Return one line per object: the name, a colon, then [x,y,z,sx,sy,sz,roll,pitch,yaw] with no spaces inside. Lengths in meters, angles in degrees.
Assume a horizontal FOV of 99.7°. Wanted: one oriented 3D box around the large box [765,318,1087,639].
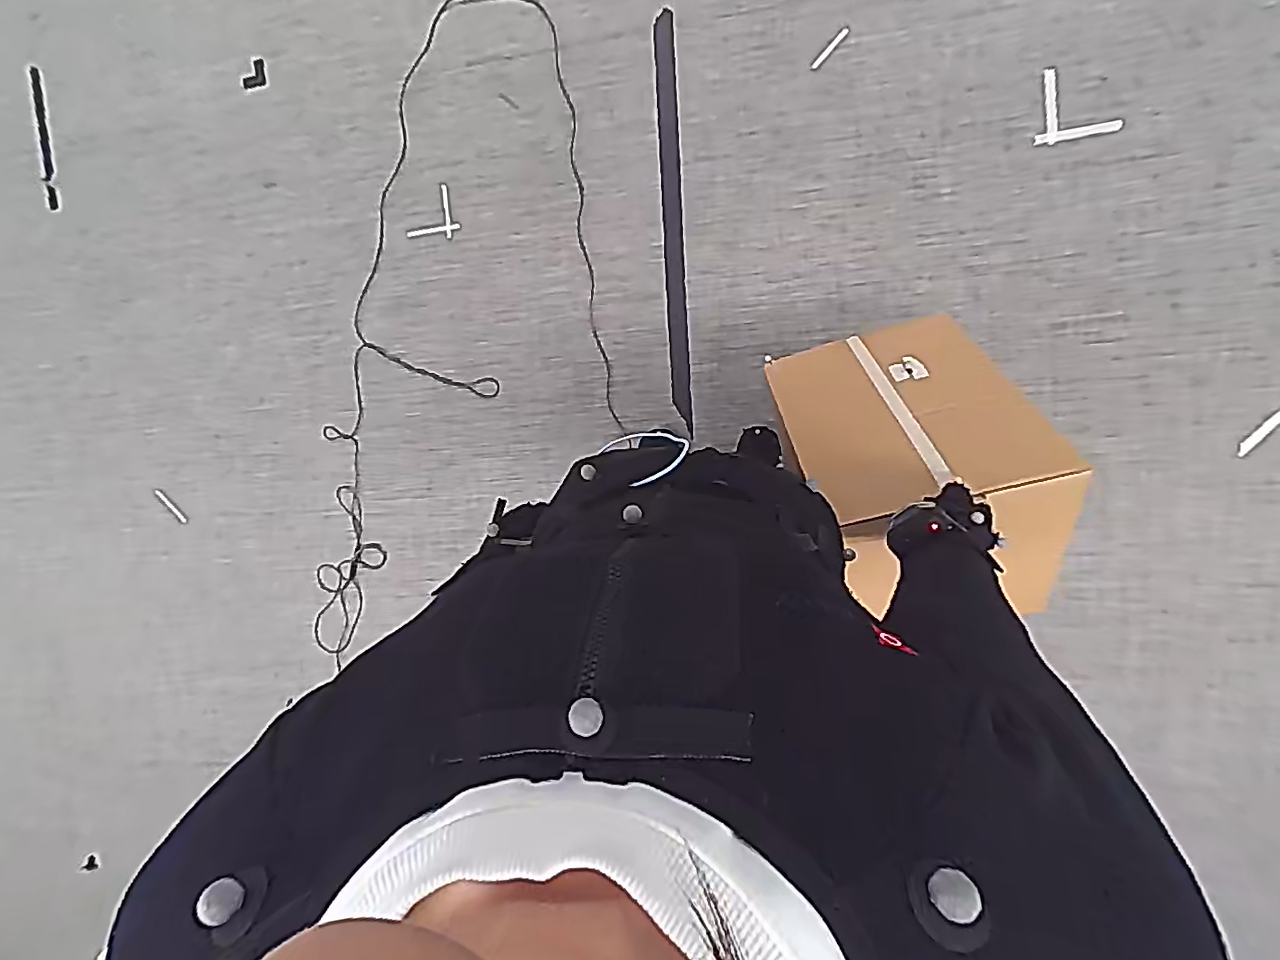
large box: [0.430,-0.008,0.913,0.320,0.408,0.320,-14,131,9]
